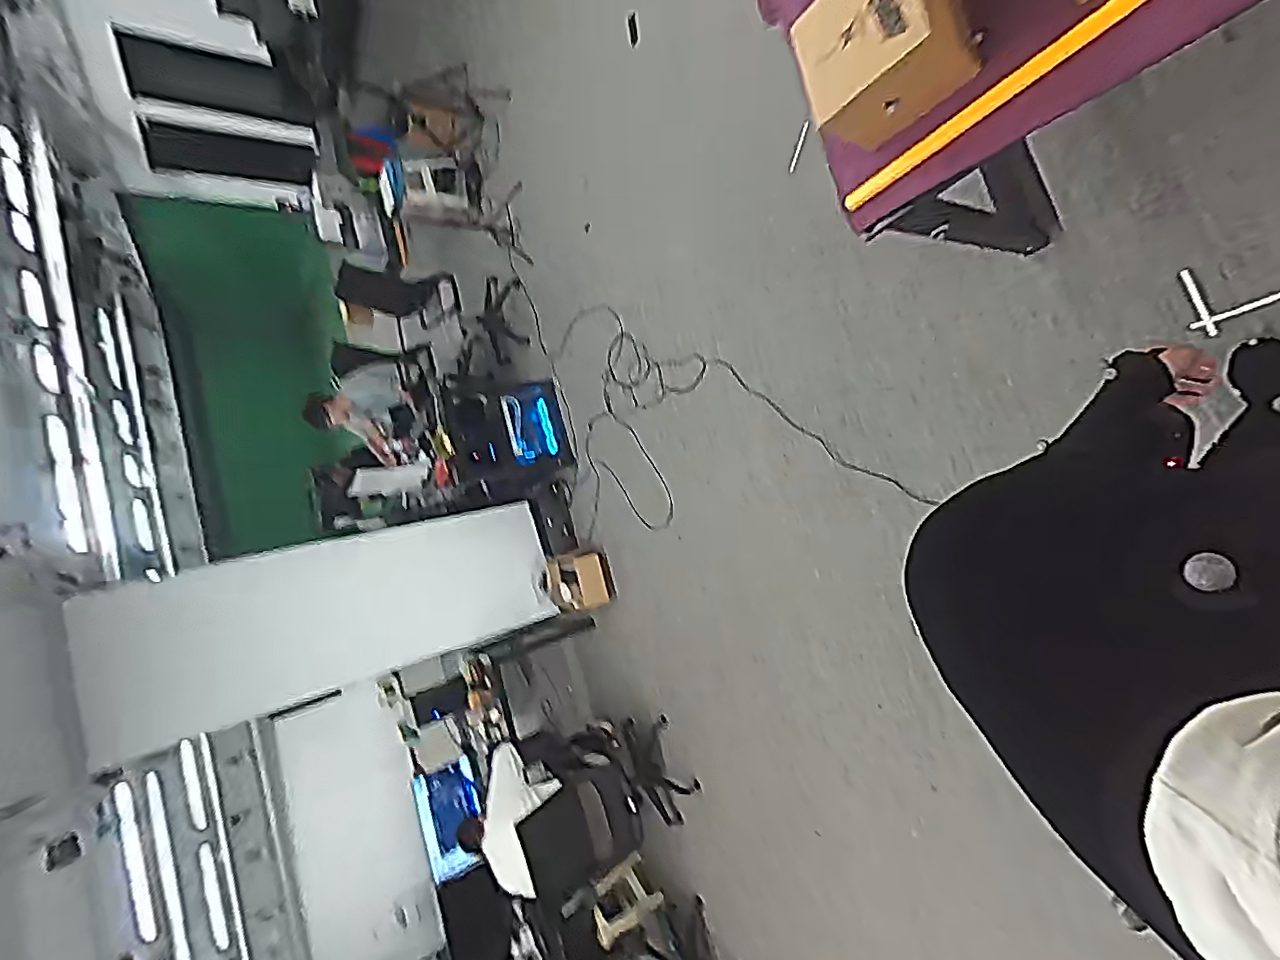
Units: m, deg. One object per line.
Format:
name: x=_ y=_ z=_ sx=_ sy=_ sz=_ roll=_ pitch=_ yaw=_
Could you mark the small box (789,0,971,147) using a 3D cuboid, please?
small box: x=0.356 y=-0.631 z=0.793 sx=0.179 sy=0.176 sz=0.168 roll=-17 pitch=87 yaw=55
